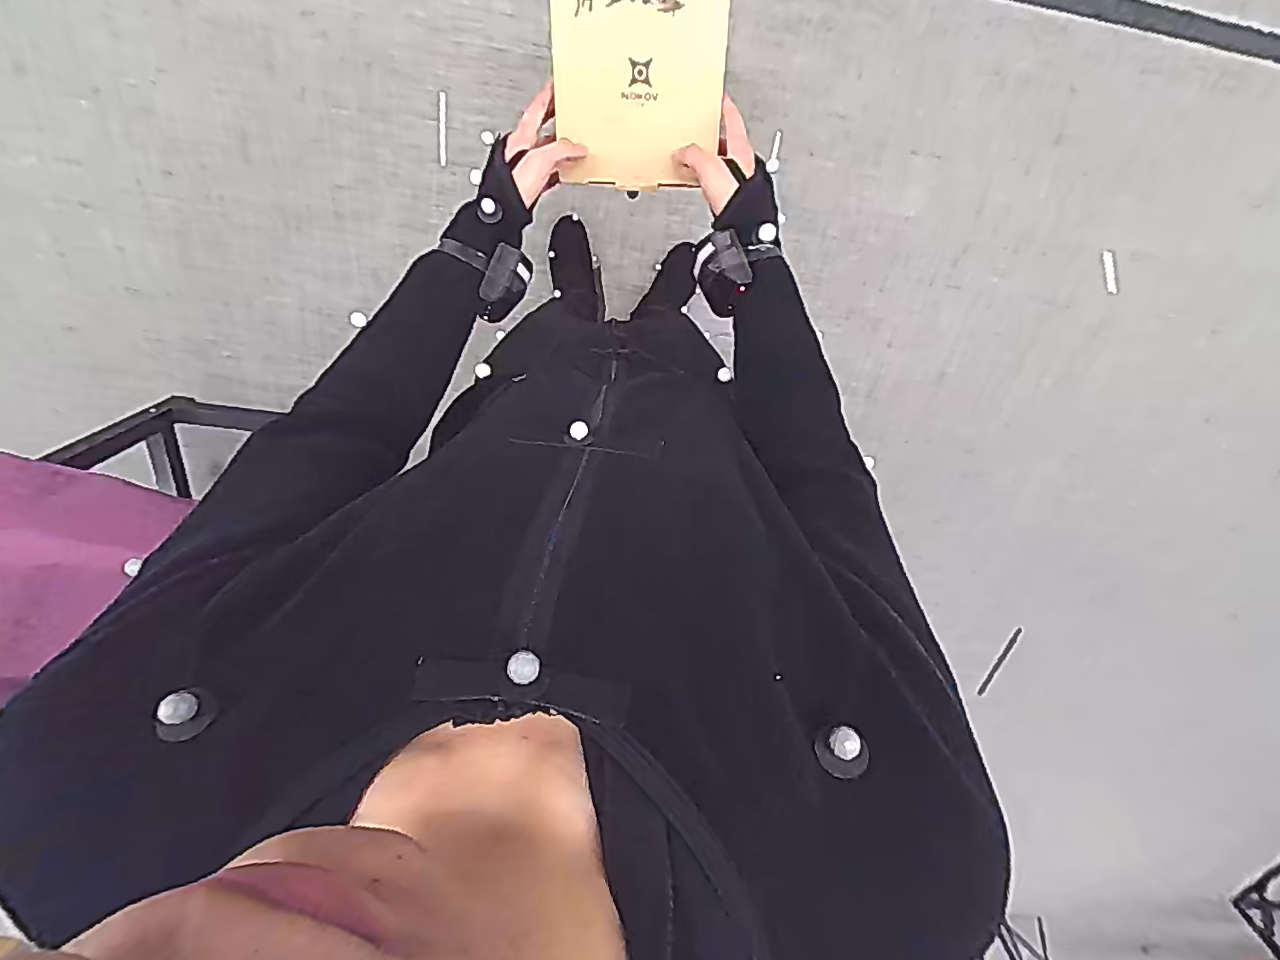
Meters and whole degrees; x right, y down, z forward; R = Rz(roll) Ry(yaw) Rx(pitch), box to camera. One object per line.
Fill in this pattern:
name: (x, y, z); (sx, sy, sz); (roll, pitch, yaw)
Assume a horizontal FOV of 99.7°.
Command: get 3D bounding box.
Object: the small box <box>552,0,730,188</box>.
small box: (-0.004, -0.429, 0.591); (0.168, 0.176, 0.179); (0, 123, -3)
